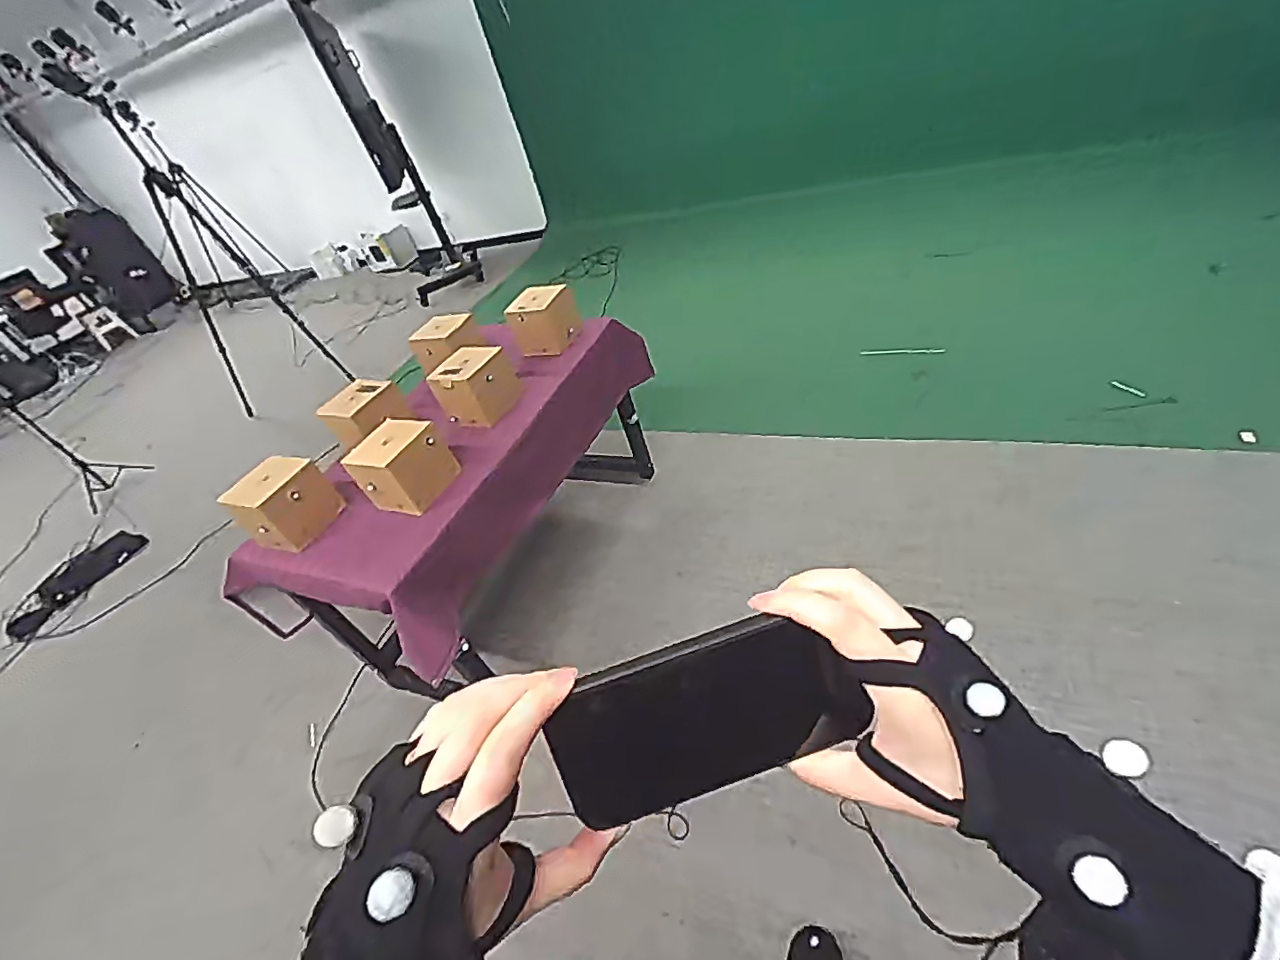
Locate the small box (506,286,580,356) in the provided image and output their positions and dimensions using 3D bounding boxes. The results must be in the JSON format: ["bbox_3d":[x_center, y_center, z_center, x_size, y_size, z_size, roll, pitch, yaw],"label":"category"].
[{"bbox_3d":[-0.321,-0.540,1.845,0.168,0.176,0.179,4,45,26],"label":"small box"}]

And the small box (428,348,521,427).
[{"bbox_3d":[-0.482,-0.274,1.608,0.168,0.176,0.179,7,46,28],"label":"small box"}]

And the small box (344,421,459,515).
[{"bbox_3d":[-0.597,-0.031,1.380,0.168,0.176,0.179,6,45,27],"label":"small box"}]

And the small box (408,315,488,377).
[{"bbox_3d":[-0.654,-0.453,1.877,0.179,0.176,0.168,3,45,24],"label":"small box"}]
